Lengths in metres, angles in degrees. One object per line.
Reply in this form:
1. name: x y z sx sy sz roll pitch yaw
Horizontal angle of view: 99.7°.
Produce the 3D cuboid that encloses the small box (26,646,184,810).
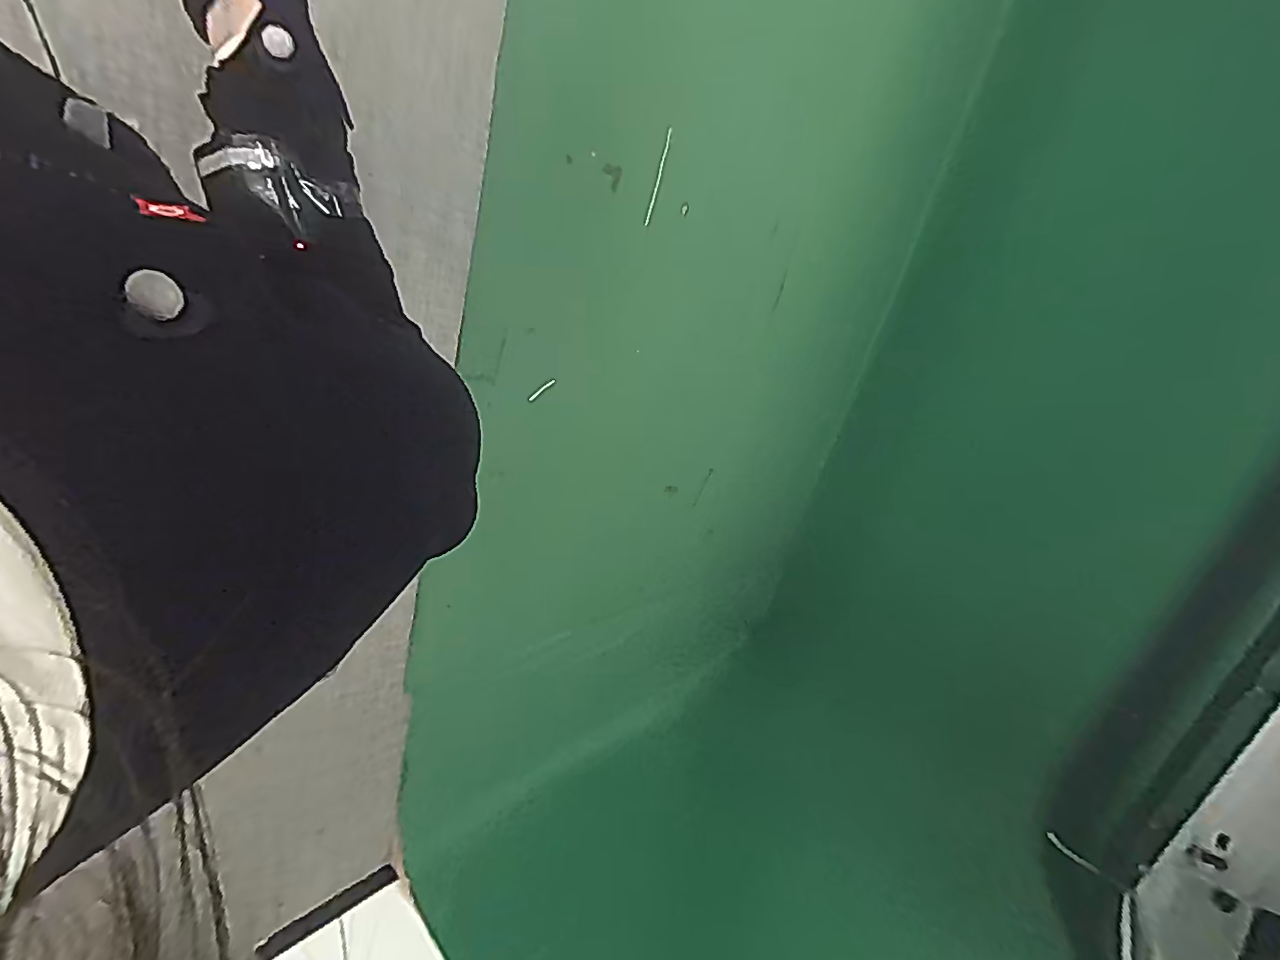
1. small box: -0.925 0.412 0.933 0.179 0.176 0.168 2 107 -51
